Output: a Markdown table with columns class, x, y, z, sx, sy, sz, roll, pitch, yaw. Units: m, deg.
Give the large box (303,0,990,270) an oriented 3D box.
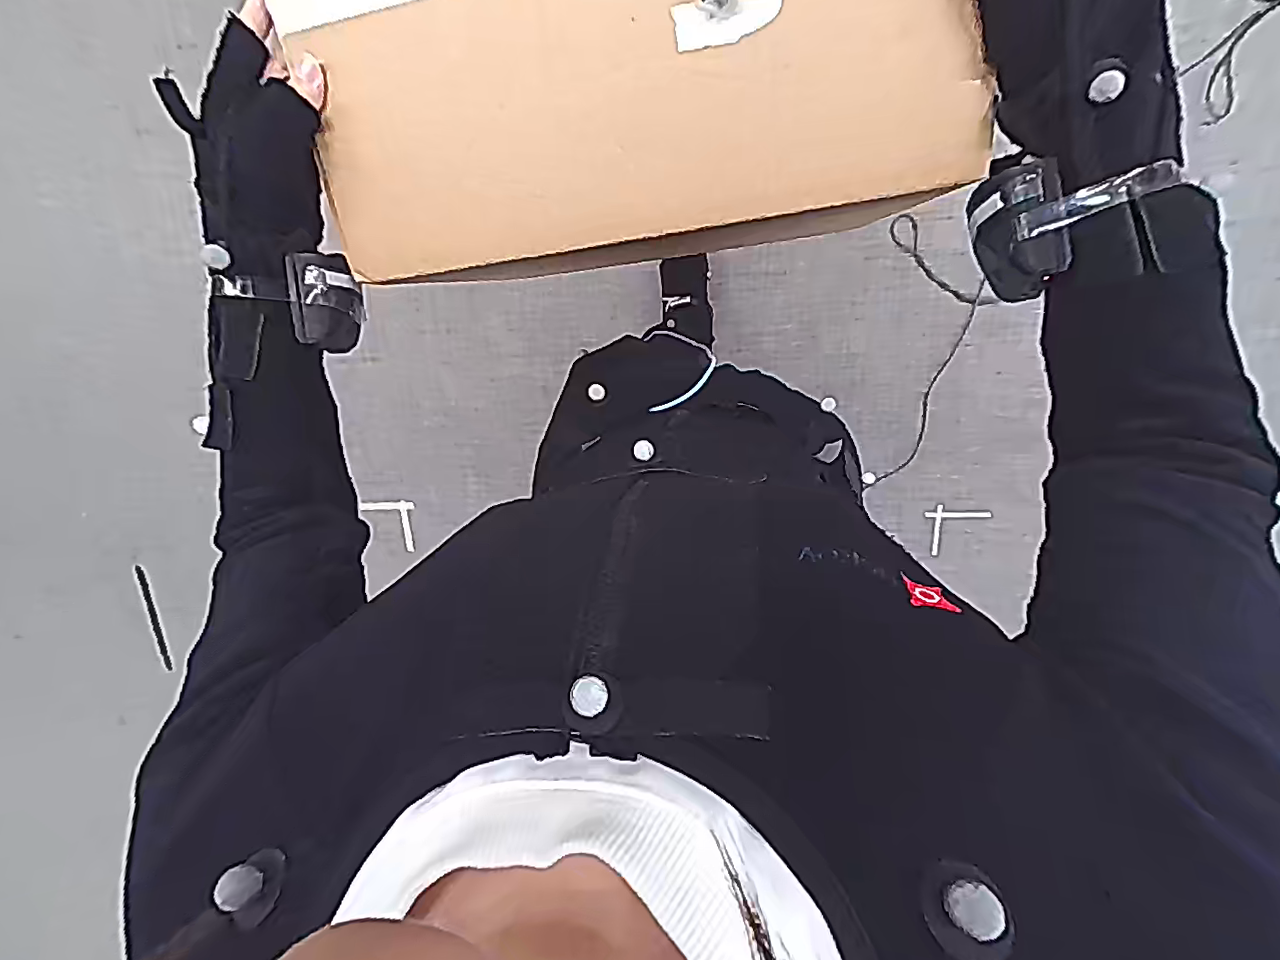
| class | x | y | z | sx | sy | sz | roll | pitch | yaw |
| --- | --- | --- | --- | --- | --- | --- | --- | --- | --- |
| large box | 0.003 | -0.366 | 0.438 | 0.408 | 0.320 | 0.320 | -5 | 111 | 11 |
